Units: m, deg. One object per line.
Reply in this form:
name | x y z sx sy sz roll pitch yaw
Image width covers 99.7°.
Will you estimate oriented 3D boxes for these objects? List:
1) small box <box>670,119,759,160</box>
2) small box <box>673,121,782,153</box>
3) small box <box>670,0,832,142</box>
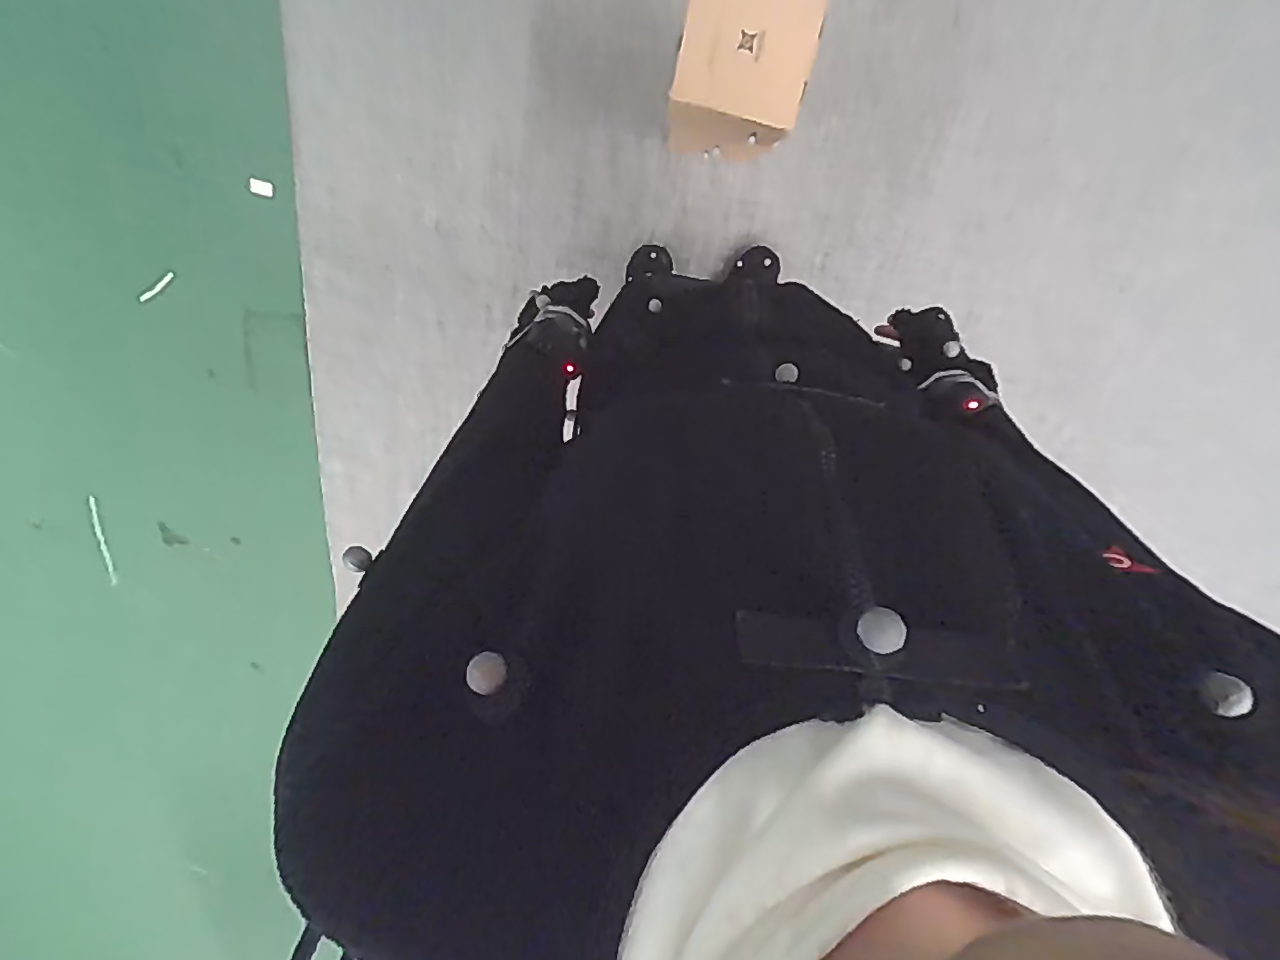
small box | 0.164 -0.747 1.063 0.179 0.176 0.168 14 114 -5
small box | 0.162 -0.672 0.920 0.179 0.176 0.168 12 116 -5
small box | 0.146 -0.601 0.774 0.179 0.176 0.168 12 115 -3
